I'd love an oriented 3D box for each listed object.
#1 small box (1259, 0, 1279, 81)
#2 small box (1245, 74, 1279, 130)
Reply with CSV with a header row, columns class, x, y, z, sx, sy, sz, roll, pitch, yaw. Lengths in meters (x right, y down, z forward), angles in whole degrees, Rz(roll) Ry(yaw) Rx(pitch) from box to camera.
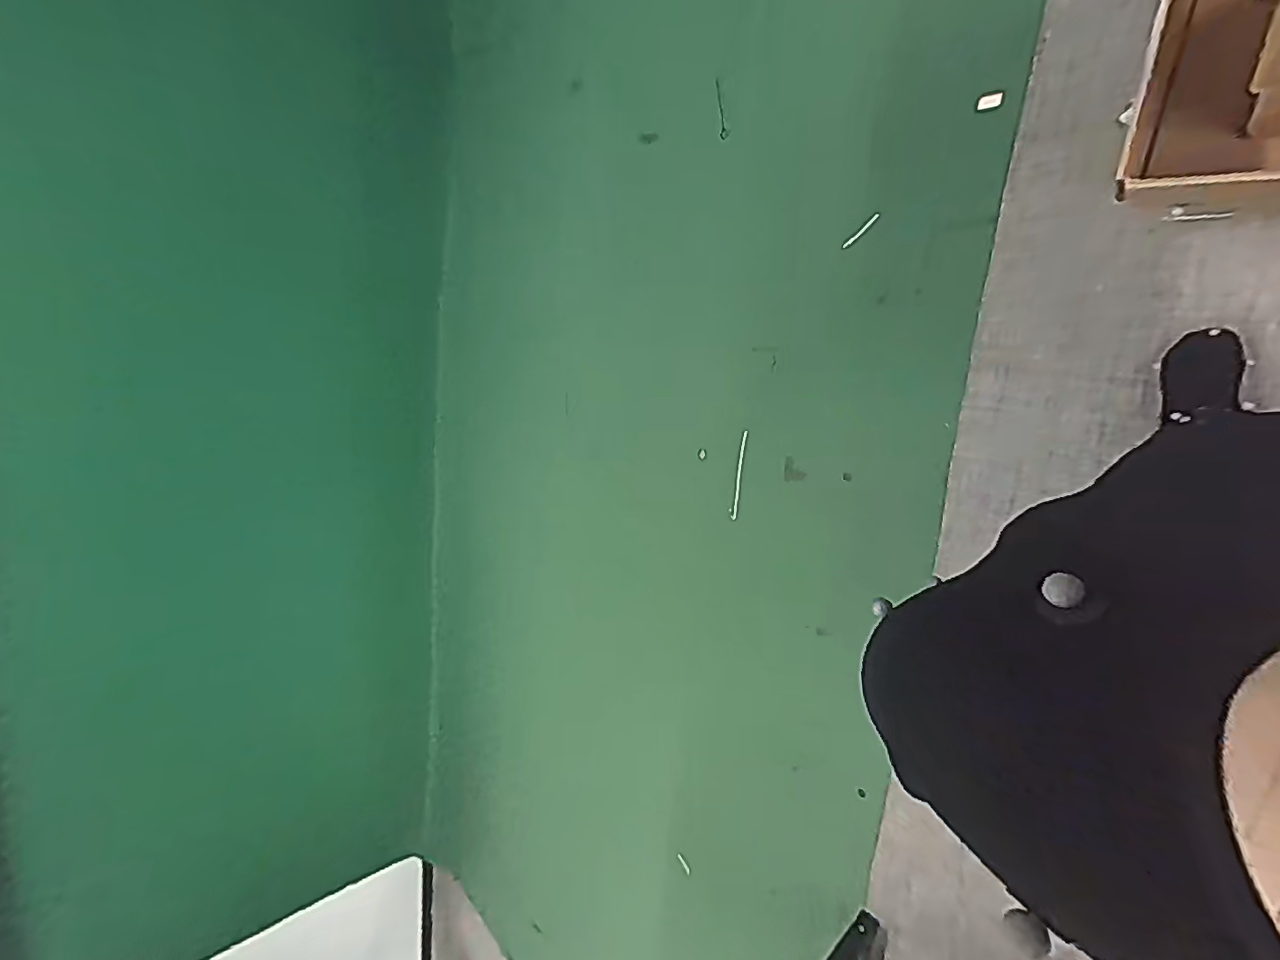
class,x,y,z,sx,sy,sz,roll,pitch,yaw
small box,0.572,-0.403,0.360,0.179,0.176,0.168,16,110,38
small box,0.688,-0.428,0.470,0.179,0.176,0.168,21,112,38
